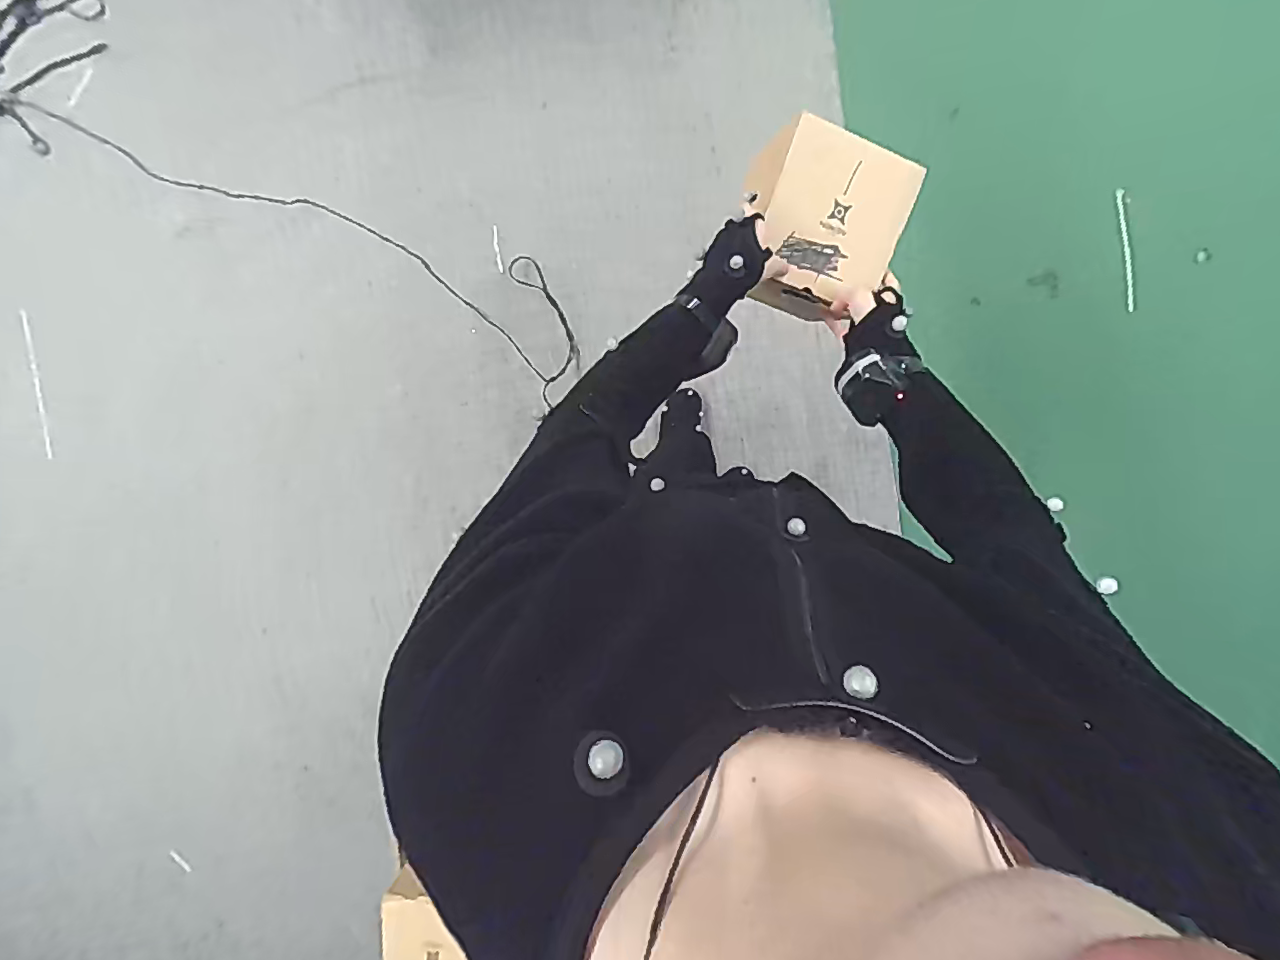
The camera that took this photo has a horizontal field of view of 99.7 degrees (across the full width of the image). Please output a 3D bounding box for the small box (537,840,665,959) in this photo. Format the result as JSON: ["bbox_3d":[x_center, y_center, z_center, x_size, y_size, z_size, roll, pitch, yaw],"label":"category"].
[{"bbox_3d":[-0.054,0.716,0.873,0.168,0.176,0.179,-9,90,6],"label":"small box"}]

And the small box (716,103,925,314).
[{"bbox_3d":[0.209,-0.321,0.685,0.168,0.176,0.179,17,102,-11],"label":"small box"}]

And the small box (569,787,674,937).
[{"bbox_3d":[-0.029,0.727,1.036,0.168,0.176,0.179,-10,90,5],"label":"small box"}]
